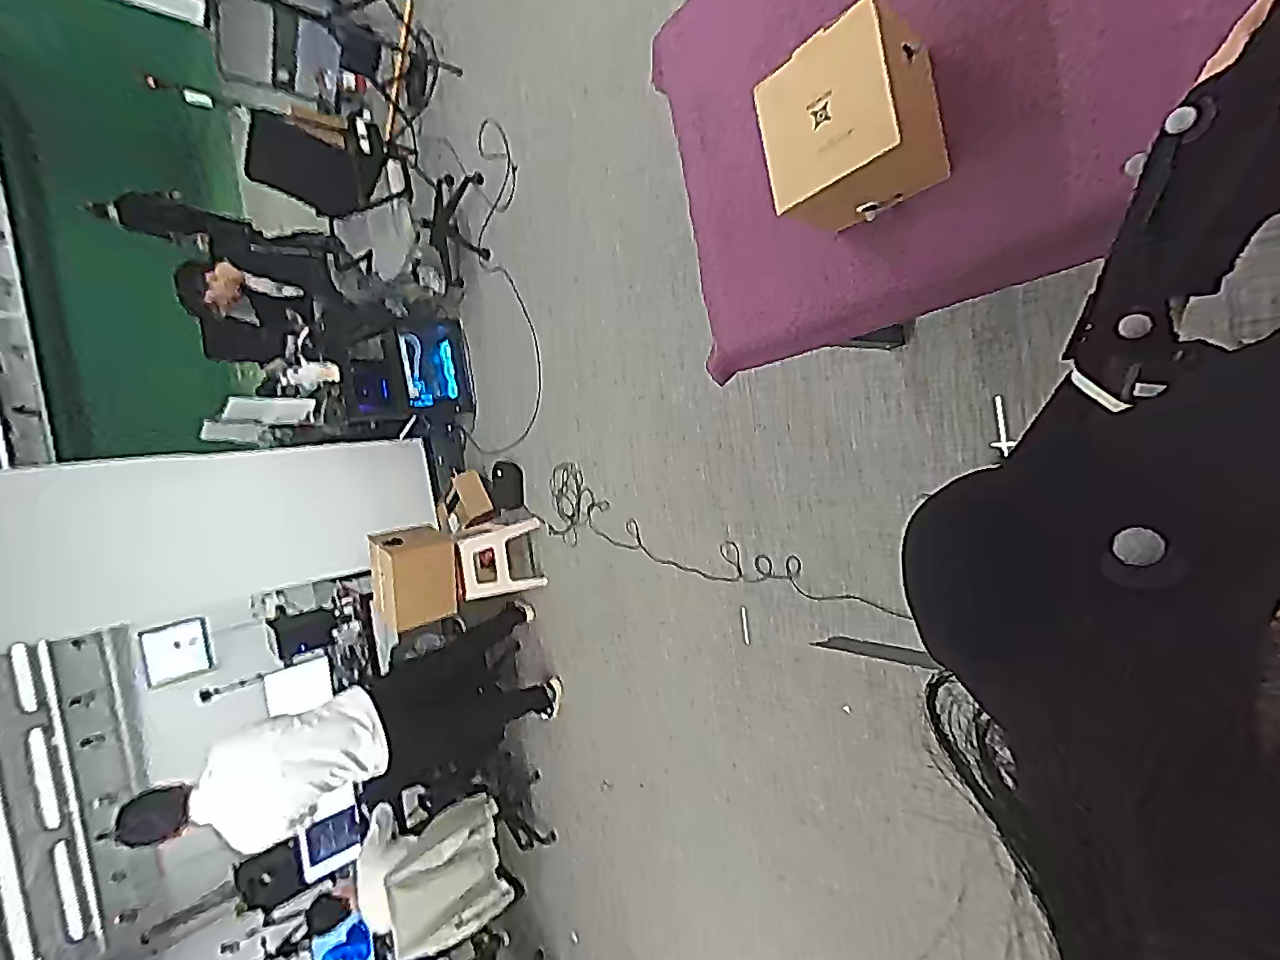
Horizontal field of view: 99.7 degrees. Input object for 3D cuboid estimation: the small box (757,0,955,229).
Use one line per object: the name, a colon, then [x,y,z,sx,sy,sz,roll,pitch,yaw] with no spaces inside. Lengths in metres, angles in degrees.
small box: [0.283,-0.459,0.706,0.168,0.176,0.179,-13,89,49]
